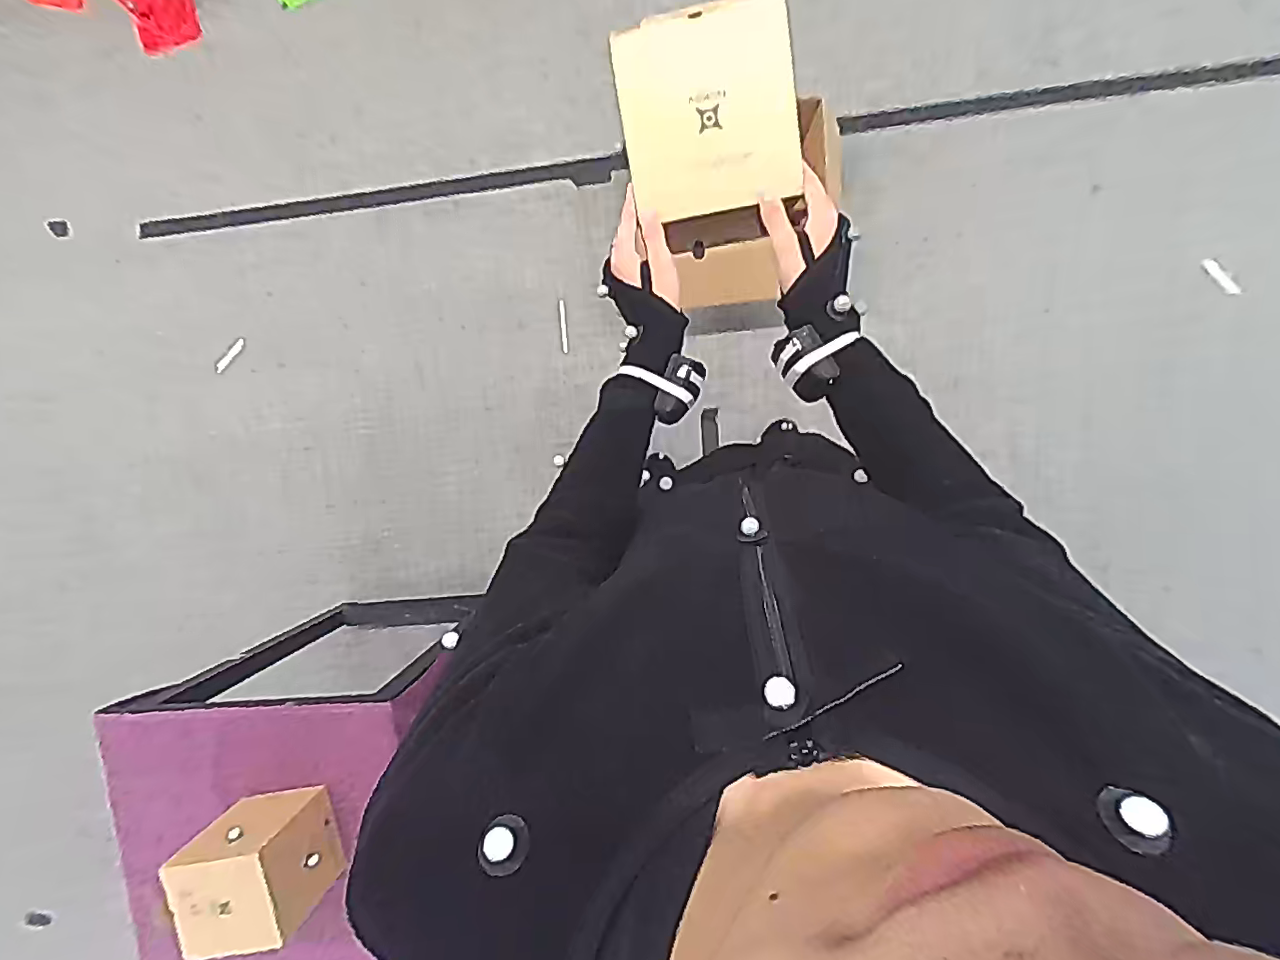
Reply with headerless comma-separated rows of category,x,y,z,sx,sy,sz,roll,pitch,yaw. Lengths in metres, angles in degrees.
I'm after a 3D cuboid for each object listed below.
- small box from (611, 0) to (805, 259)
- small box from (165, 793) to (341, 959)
small box,0.068,-0.360,0.585,0.168,0.176,0.179,-9,100,5
small box,-0.656,0.679,0.943,0.179,0.176,0.168,-11,94,6
